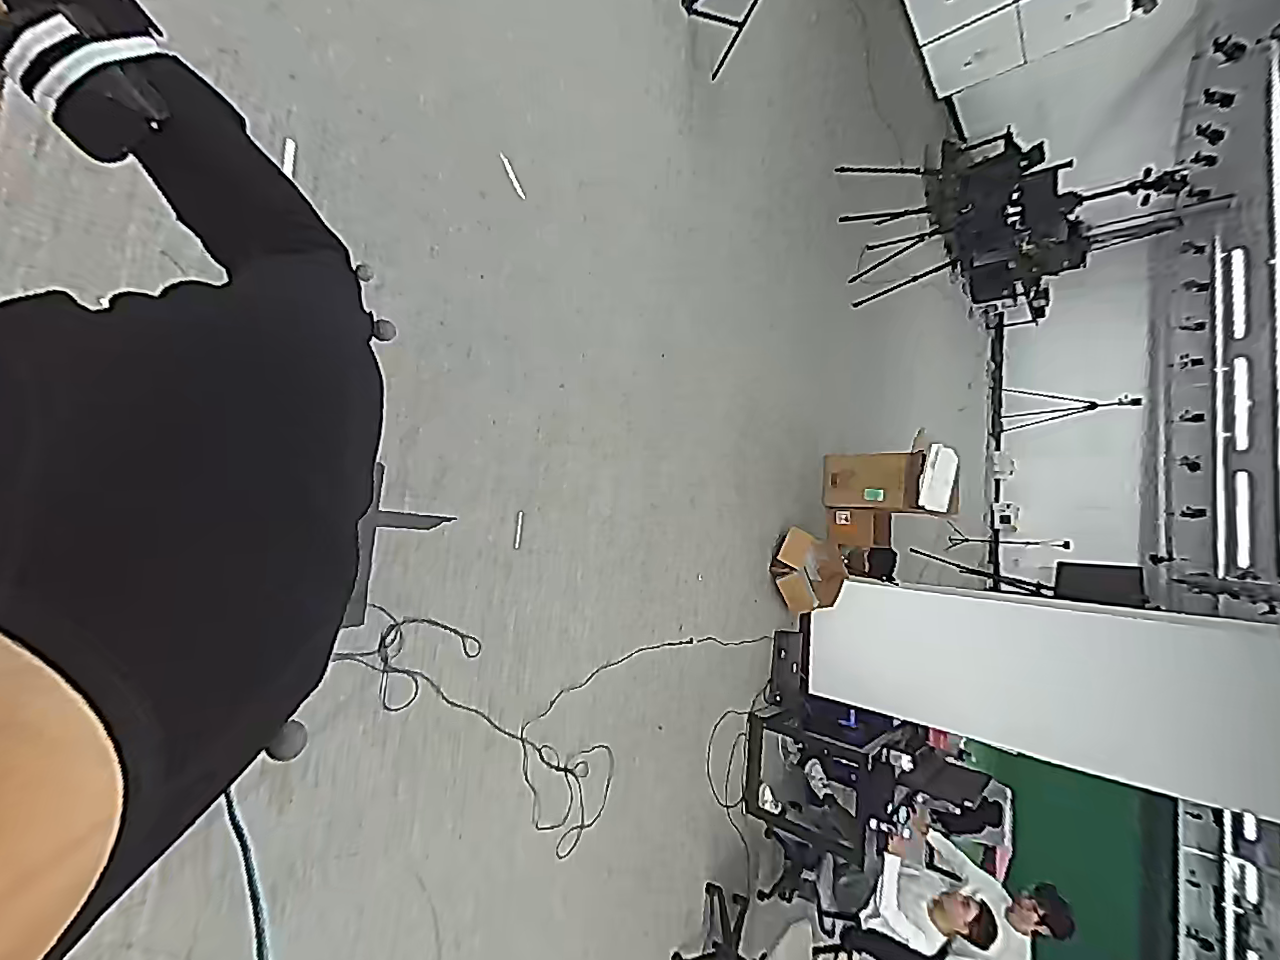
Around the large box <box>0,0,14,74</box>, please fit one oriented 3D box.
[{"bbox_3d":[-0.636,-0.290,0.213,0.408,0.320,0.320,-48,130,-40],"label":"large box"}]

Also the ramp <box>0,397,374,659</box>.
[{"bbox_3d":[-1.079,0.115,1.198,0.991,0.206,0.509,8,83,-49],"label":"ramp"}]
